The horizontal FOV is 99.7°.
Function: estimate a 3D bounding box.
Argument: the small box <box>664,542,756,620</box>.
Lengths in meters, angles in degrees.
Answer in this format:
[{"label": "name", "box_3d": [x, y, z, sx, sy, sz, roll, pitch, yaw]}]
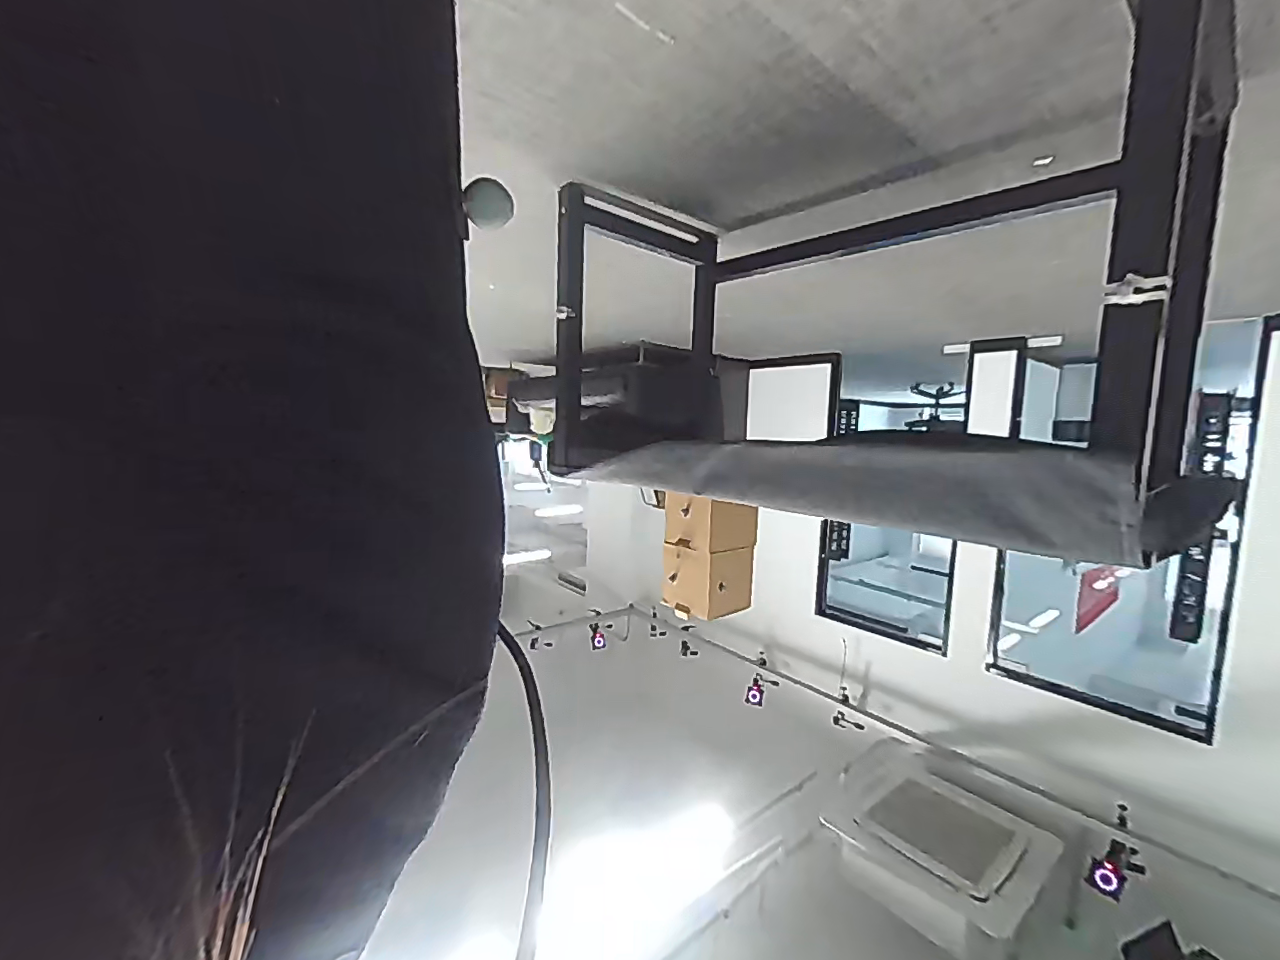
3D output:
[{"label": "small box", "box_3d": [0.178, 0.239, 1.382, 0.179, 0.176, 0.168, -5, -171, -41]}]

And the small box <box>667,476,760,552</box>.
[{"label": "small box", "box_3d": [0.185, 0.077, 1.362, 0.179, 0.176, 0.168, -3, -173, -38]}]
